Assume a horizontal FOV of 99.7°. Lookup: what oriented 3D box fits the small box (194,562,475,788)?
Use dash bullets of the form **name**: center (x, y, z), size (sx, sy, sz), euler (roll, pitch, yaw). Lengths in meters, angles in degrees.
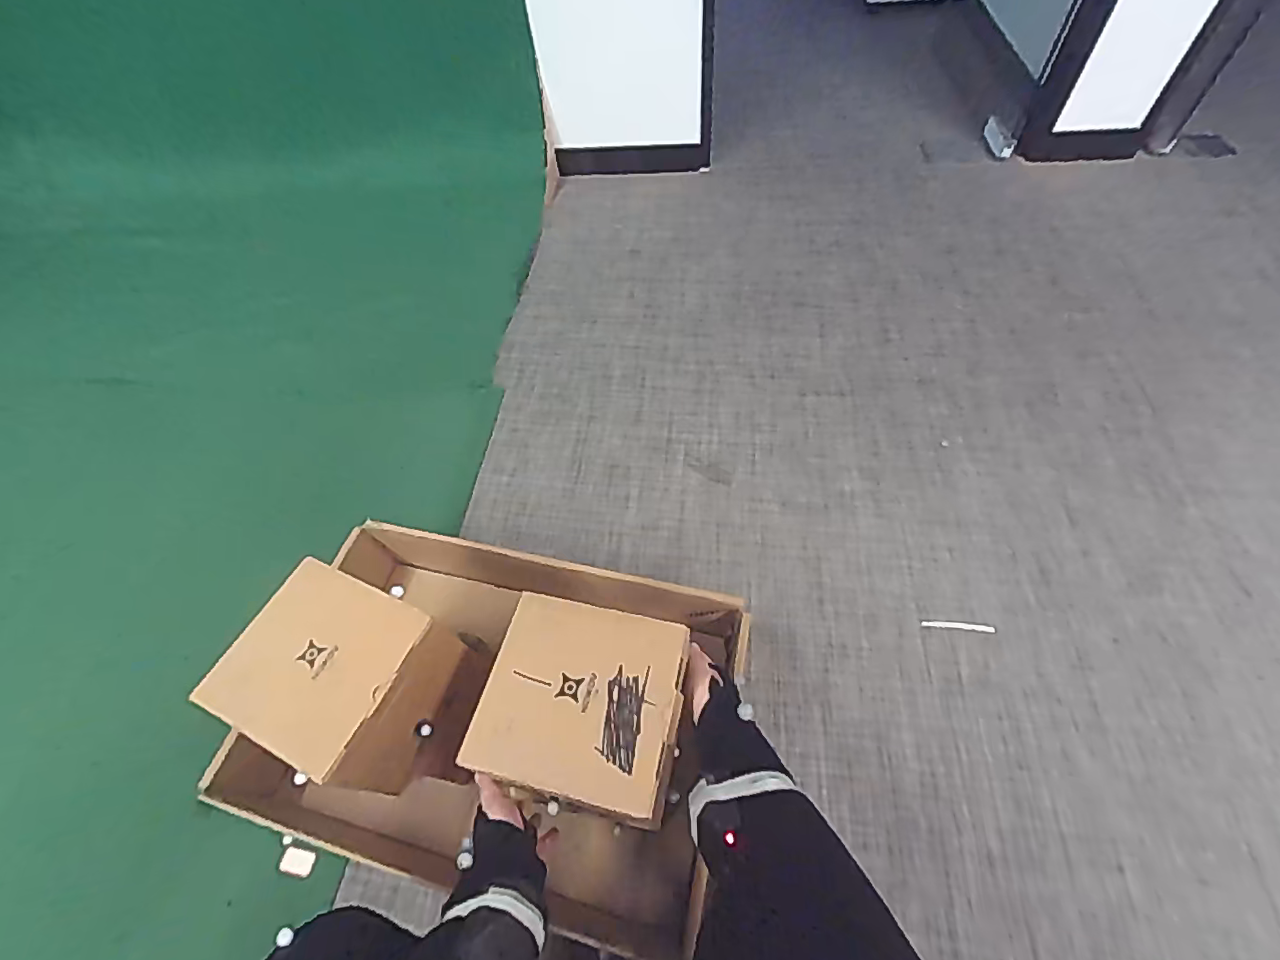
- **small box**: center (-0.319, 0.223, 0.605), size (0.179, 0.176, 0.168), euler (20, 60, 15)
